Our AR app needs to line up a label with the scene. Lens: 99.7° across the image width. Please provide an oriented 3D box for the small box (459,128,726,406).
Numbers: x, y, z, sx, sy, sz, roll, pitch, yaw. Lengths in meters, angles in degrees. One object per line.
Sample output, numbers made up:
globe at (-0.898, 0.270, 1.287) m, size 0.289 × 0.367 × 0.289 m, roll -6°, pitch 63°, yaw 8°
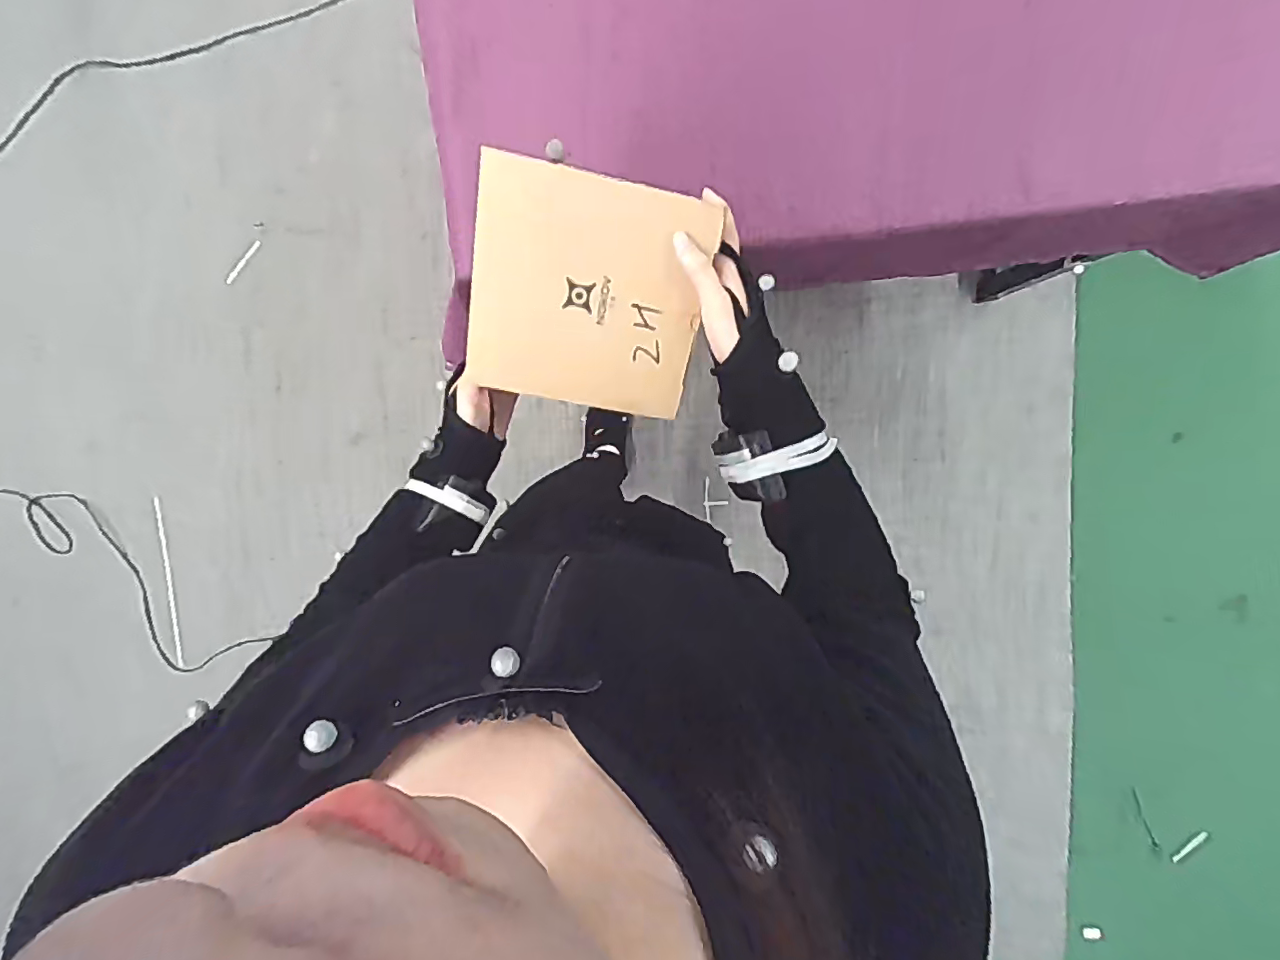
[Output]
small box at (-0.044, -0.183, 0.476) m, size 0.179 × 0.176 × 0.168 m, roll 10°, pitch 116°, yaw -8°
